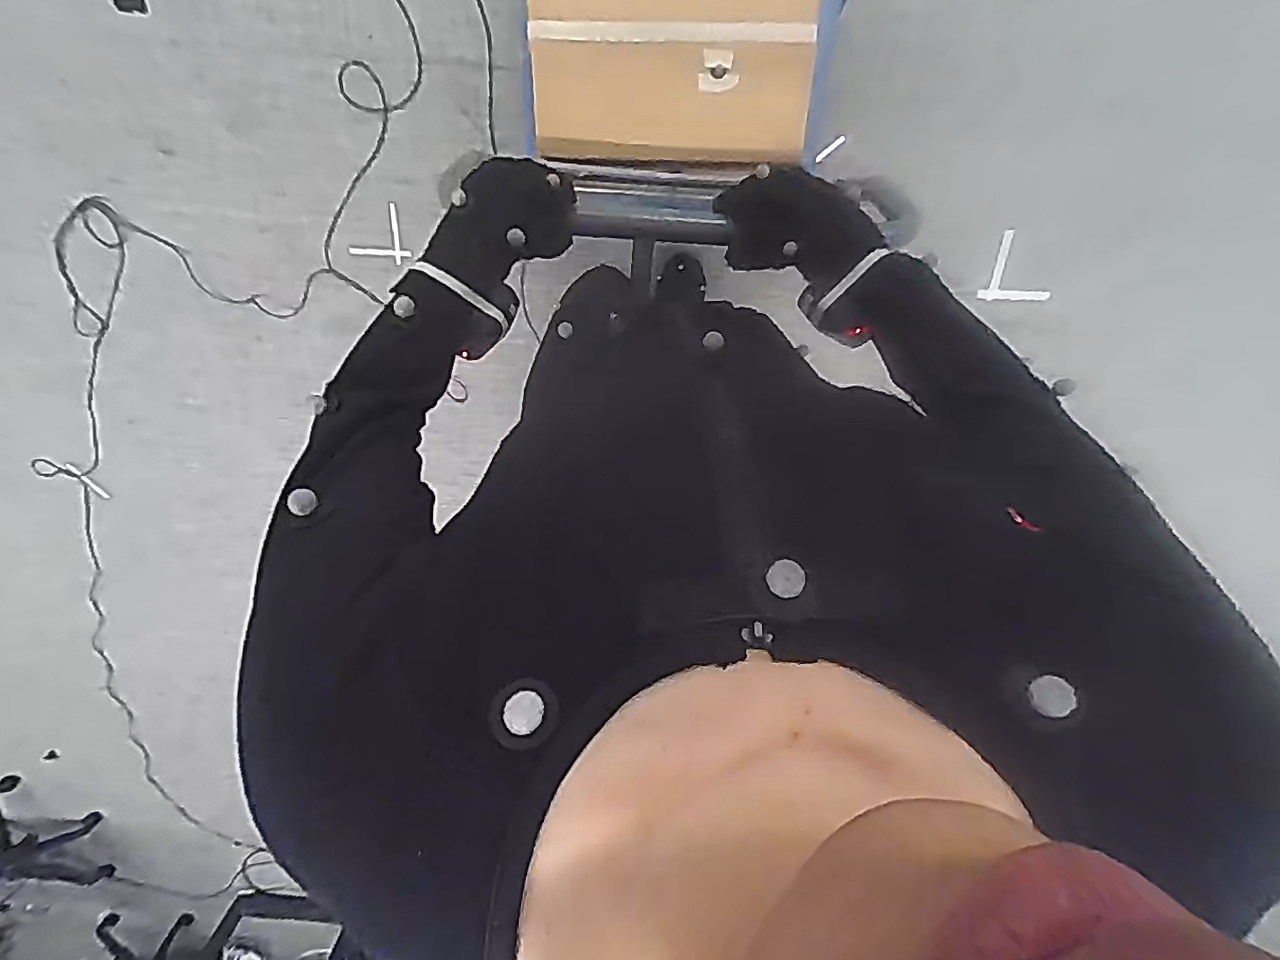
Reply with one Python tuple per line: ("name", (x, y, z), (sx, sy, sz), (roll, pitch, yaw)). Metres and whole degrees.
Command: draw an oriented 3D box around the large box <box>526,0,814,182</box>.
("large box", (0.040, -0.681, 0.893), (0.408, 0.320, 0.320), (1, 116, 0))
